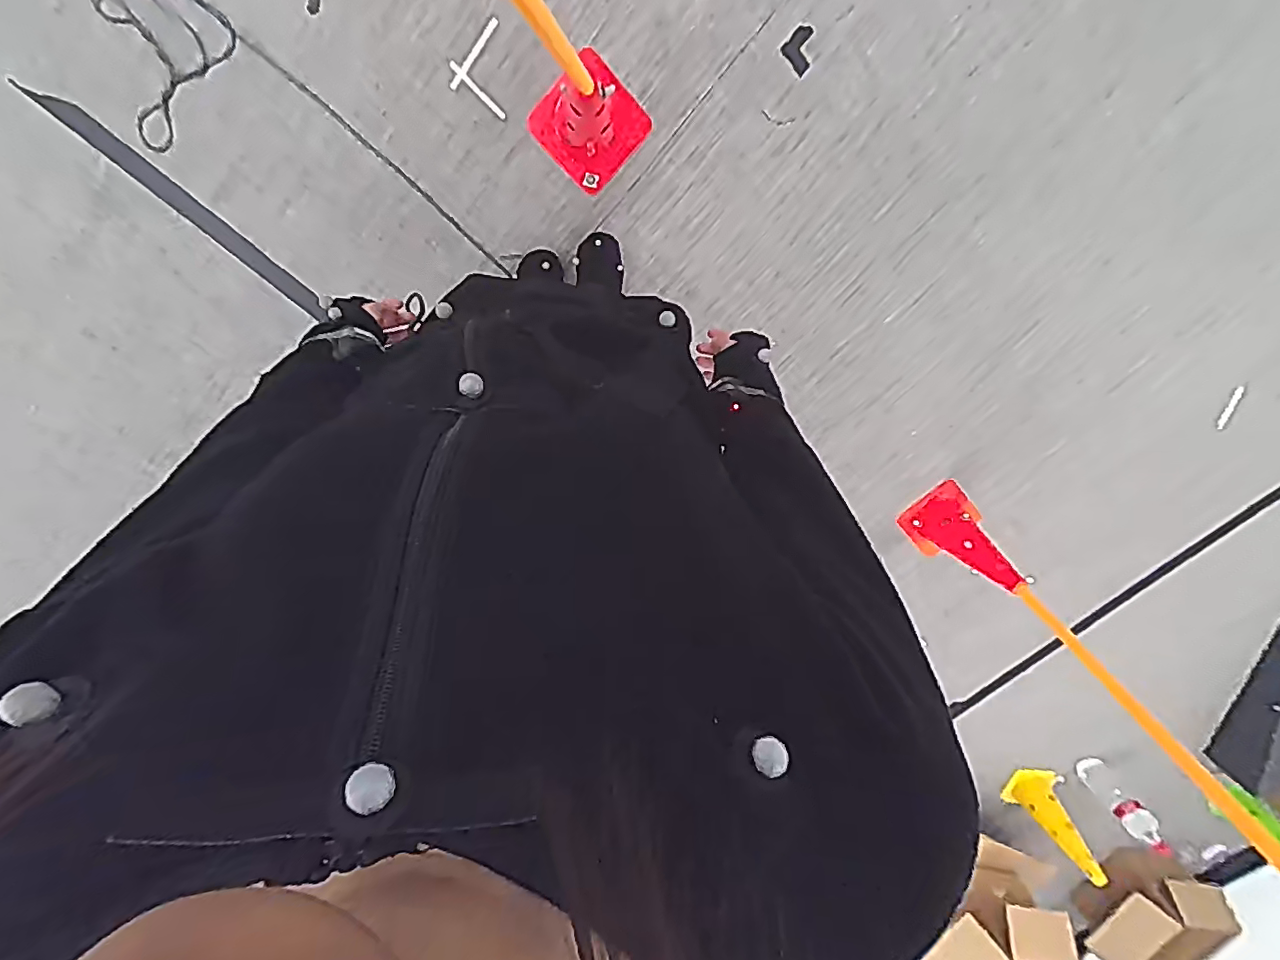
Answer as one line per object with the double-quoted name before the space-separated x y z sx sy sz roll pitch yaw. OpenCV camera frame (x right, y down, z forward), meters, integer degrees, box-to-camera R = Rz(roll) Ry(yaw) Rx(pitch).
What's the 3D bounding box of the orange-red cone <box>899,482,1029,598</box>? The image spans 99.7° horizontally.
"orange-red cone" 0.906 0.193 1.457 0.198 0.360 0.199 -40 112 14
